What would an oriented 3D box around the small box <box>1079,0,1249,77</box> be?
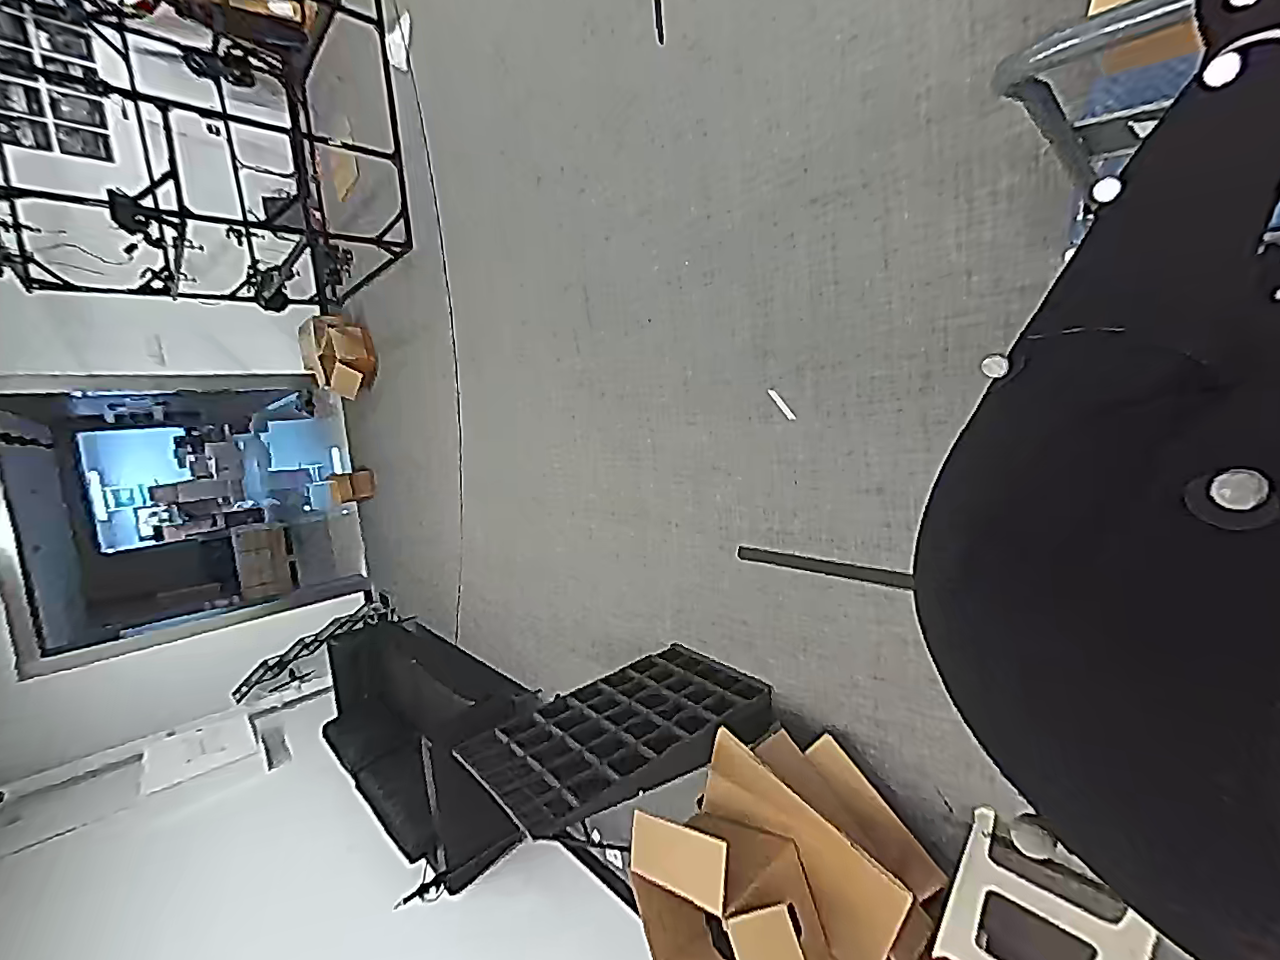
[{"bbox_3d":[0.812,-0.757,0.826,0.179,0.176,0.168,16,109,44],"label":"small box"}]
